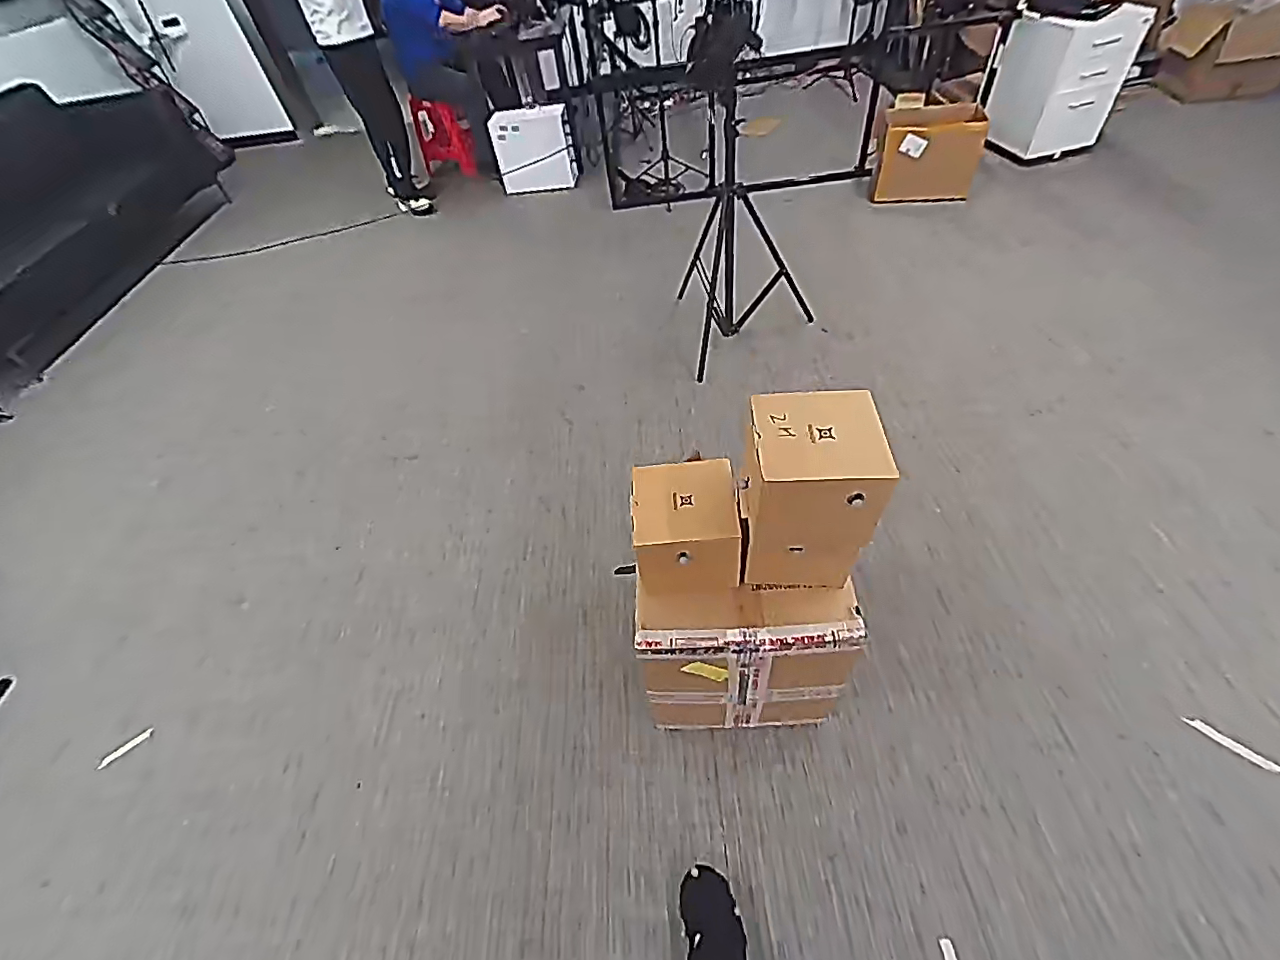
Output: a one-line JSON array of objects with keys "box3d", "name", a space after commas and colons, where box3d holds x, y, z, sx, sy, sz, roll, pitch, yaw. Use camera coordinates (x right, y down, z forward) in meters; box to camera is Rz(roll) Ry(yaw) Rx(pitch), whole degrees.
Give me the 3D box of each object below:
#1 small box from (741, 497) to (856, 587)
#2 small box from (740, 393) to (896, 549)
[{"box3d": [0.268, 0.075, 0.942, 0.179, 0.176, 0.168, 1, 51, 7], "name": "small box"}, {"box3d": [0.247, -0.010, 0.800, 0.179, 0.176, 0.168, -2, 51, 5], "name": "small box"}]
